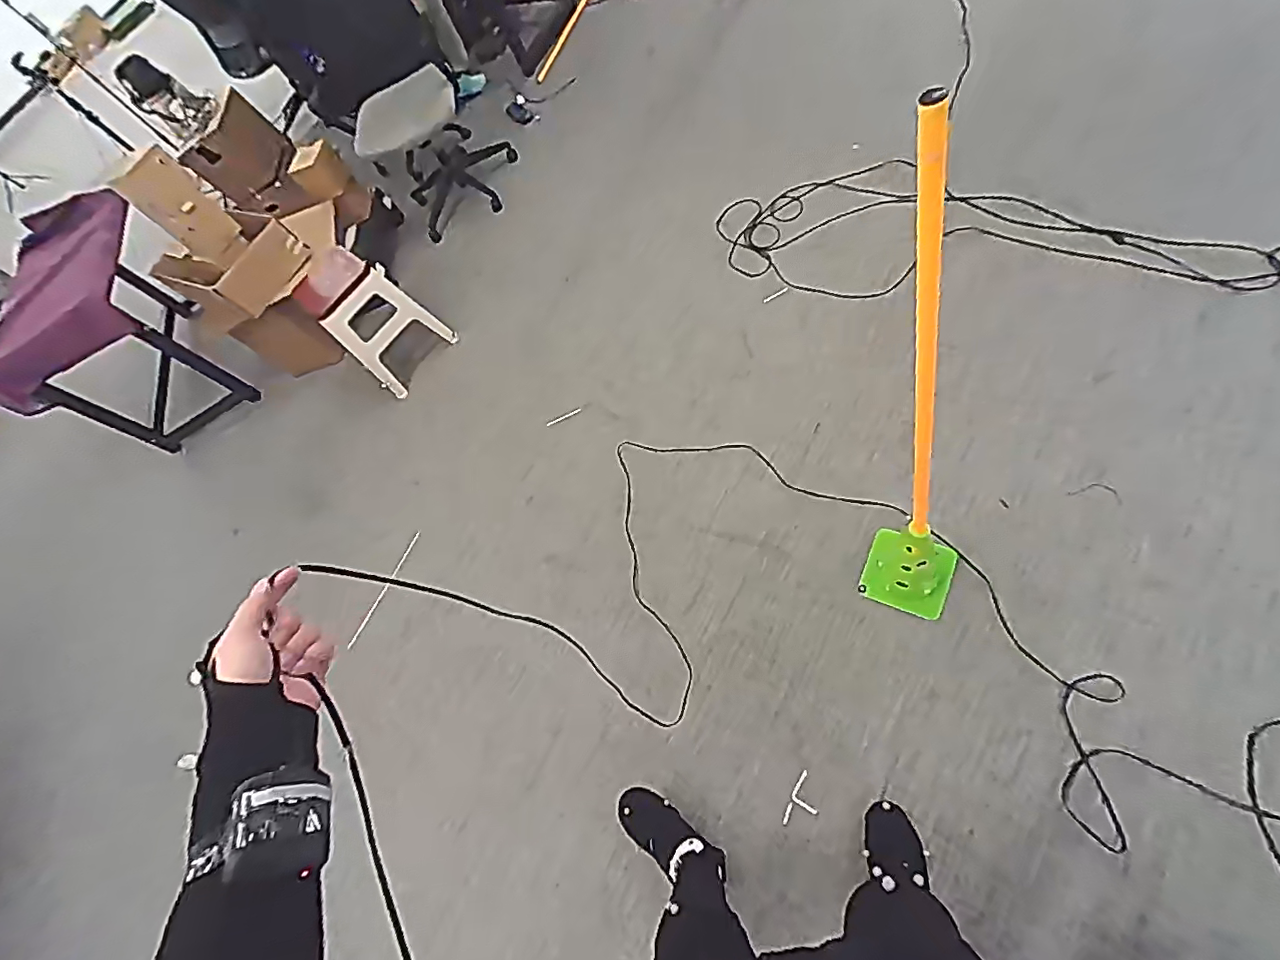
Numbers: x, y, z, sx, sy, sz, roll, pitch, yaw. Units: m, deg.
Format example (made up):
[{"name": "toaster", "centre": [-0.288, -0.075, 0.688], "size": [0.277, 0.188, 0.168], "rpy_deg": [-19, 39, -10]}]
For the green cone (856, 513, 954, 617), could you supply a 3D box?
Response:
[{"name": "green cone", "centre": [0.633, 0.165, 1.264], "size": [0.200, 0.368, 0.202], "rpy_deg": [17, 73, 27]}]
